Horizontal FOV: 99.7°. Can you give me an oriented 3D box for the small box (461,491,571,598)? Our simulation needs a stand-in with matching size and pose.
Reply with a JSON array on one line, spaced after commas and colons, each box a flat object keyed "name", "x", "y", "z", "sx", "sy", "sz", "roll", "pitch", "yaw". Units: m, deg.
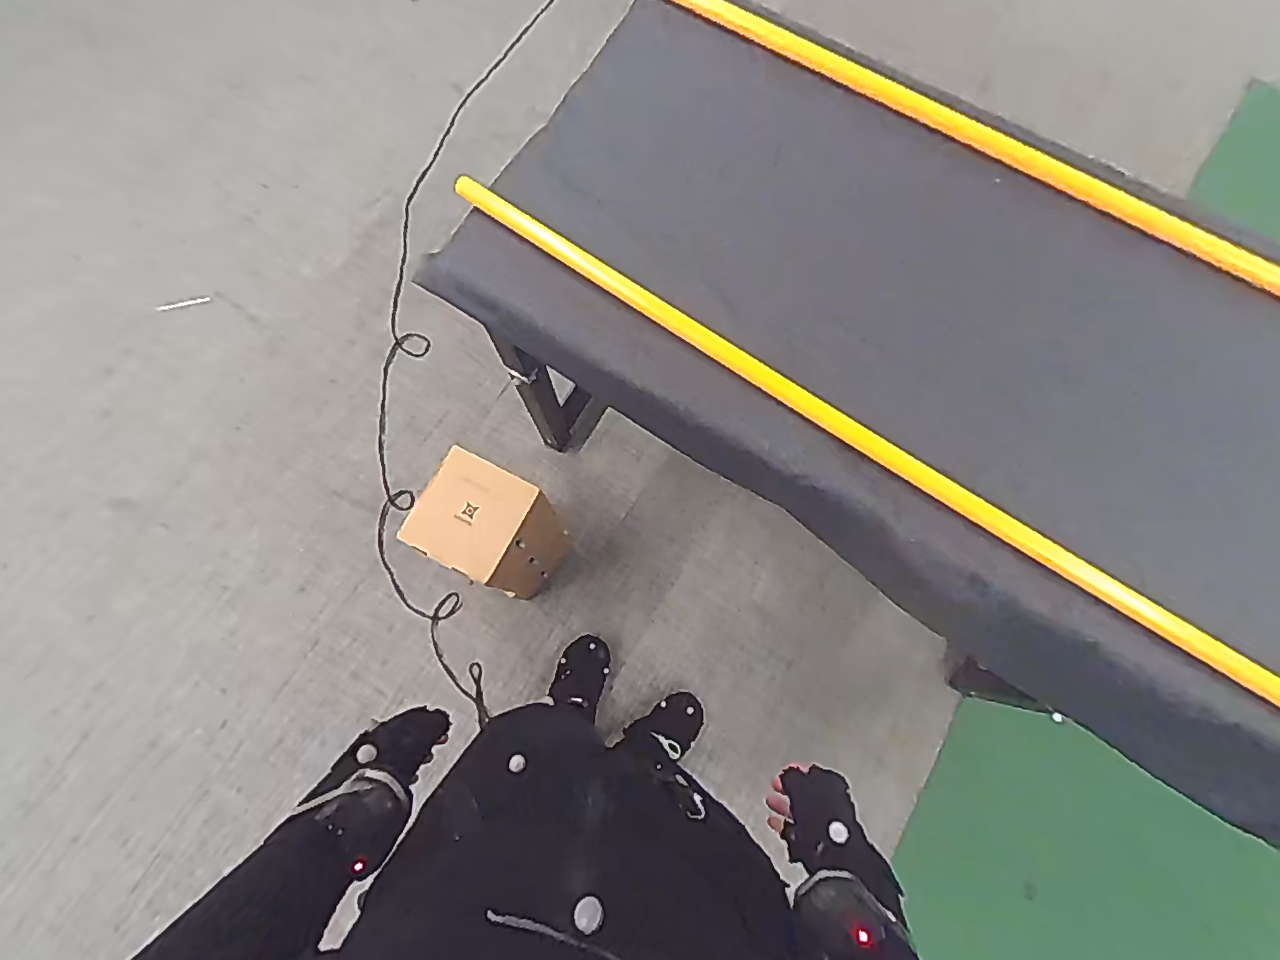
[{"name": "small box", "x": -0.274, "y": 0.154, "z": 1.247, "sx": 0.168, "sy": 0.176, "sz": 0.179, "roll": 39, "pitch": 79, "yaw": 9}]
